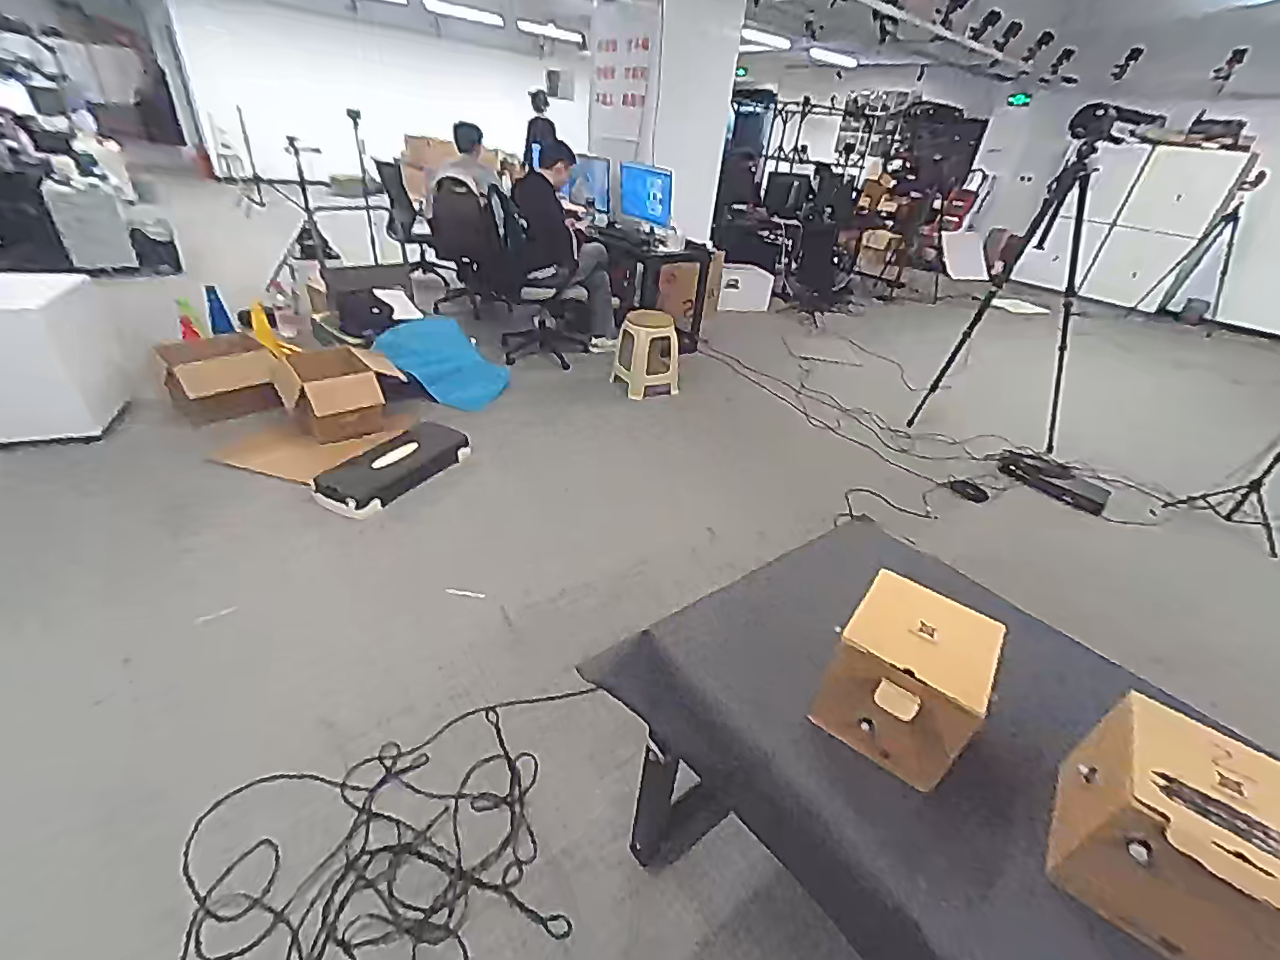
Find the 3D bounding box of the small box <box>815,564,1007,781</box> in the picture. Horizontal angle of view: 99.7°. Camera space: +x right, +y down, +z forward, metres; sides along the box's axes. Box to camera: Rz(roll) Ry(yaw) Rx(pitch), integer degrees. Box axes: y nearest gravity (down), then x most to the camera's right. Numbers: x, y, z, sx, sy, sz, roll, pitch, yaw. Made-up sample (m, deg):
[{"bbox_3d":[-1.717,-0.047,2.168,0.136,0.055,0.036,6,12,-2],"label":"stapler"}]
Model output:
[{"bbox_3d":[0.358,0.253,0.730,0.168,0.176,0.179,27,38,28],"label":"small box"}]
